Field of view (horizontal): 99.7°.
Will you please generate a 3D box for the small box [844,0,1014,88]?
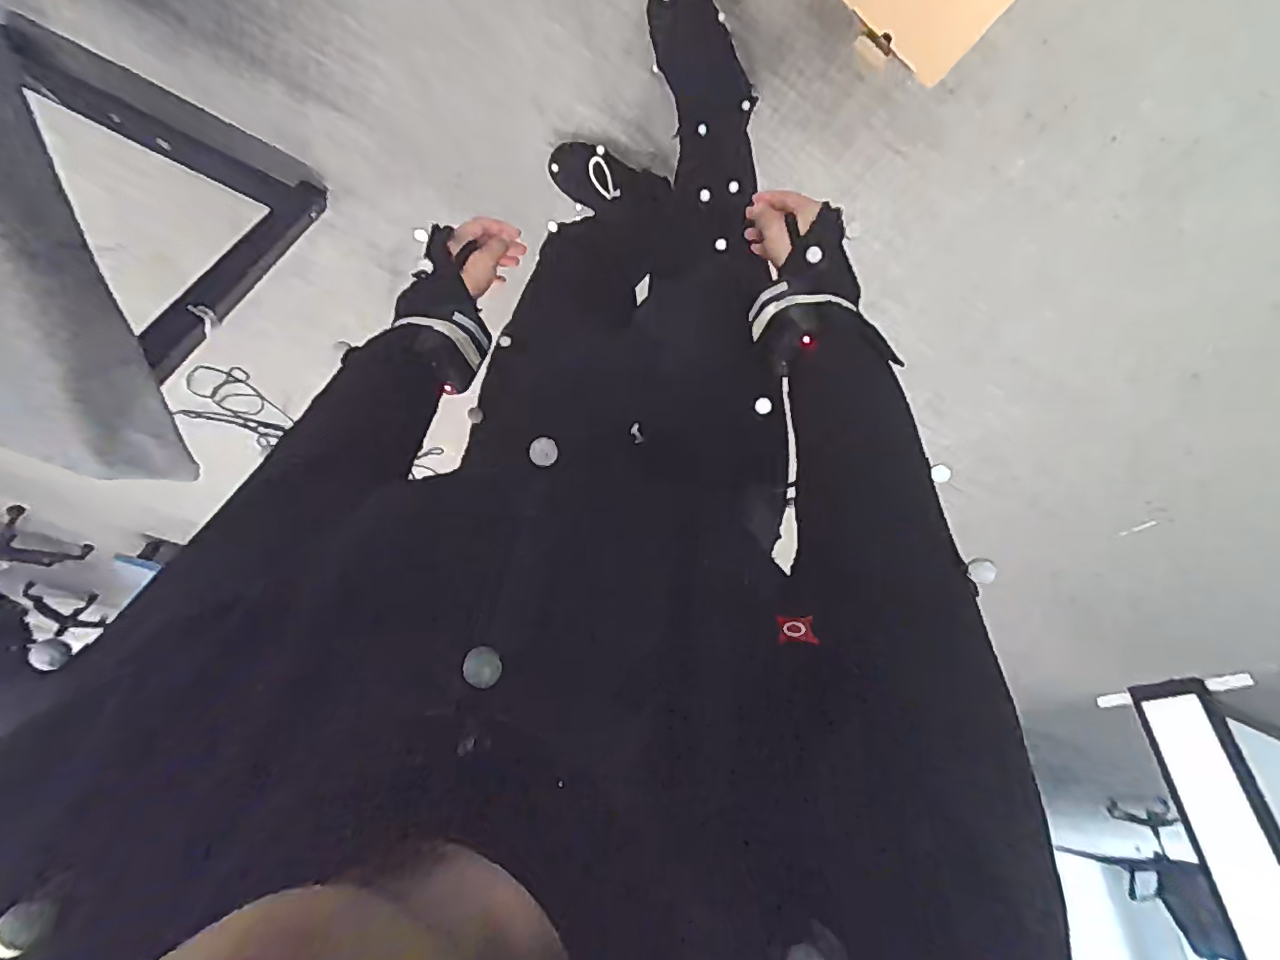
[{"bbox_3d":[0.323,-0.590,0.585,0.168,0.176,0.179,25,140,-21],"label":"small box"}]
